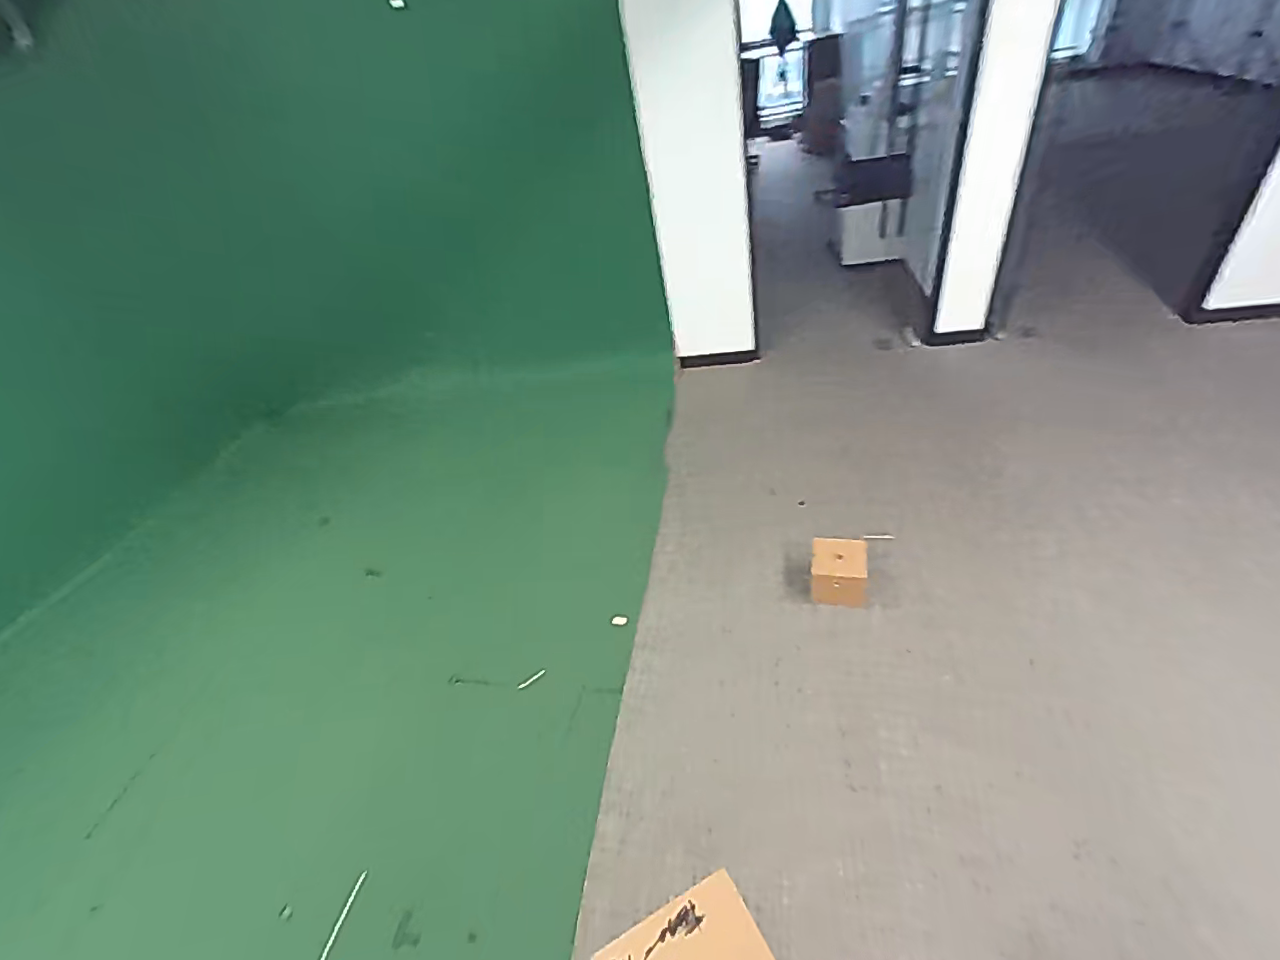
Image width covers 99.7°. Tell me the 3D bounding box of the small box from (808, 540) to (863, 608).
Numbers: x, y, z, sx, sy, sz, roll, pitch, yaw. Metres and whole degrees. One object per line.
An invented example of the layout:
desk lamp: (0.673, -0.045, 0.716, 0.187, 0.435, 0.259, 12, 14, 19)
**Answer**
small box: (0.686, 0.331, 1.900, 0.179, 0.176, 0.168, 2, 43, 18)
